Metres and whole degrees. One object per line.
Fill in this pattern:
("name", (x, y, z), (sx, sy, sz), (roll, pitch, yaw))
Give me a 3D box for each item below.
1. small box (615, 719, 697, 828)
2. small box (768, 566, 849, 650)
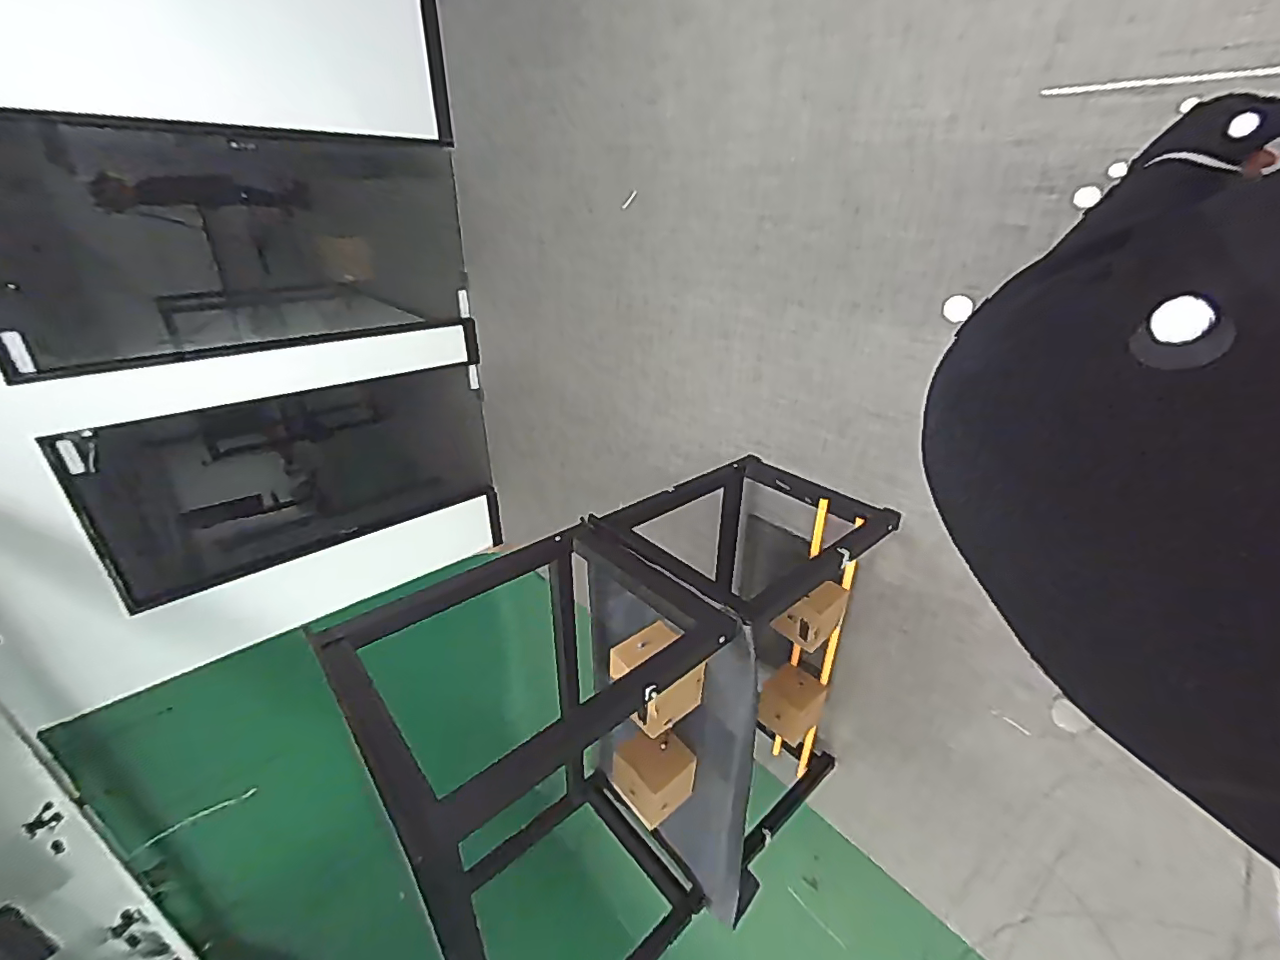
("small box", (0.046, 0.830, 1.540), (0.168, 0.176, 0.179), (31, 130, 40))
("small box", (0.544, 0.404, 1.747), (0.179, 0.176, 0.168), (31, 130, 39))
